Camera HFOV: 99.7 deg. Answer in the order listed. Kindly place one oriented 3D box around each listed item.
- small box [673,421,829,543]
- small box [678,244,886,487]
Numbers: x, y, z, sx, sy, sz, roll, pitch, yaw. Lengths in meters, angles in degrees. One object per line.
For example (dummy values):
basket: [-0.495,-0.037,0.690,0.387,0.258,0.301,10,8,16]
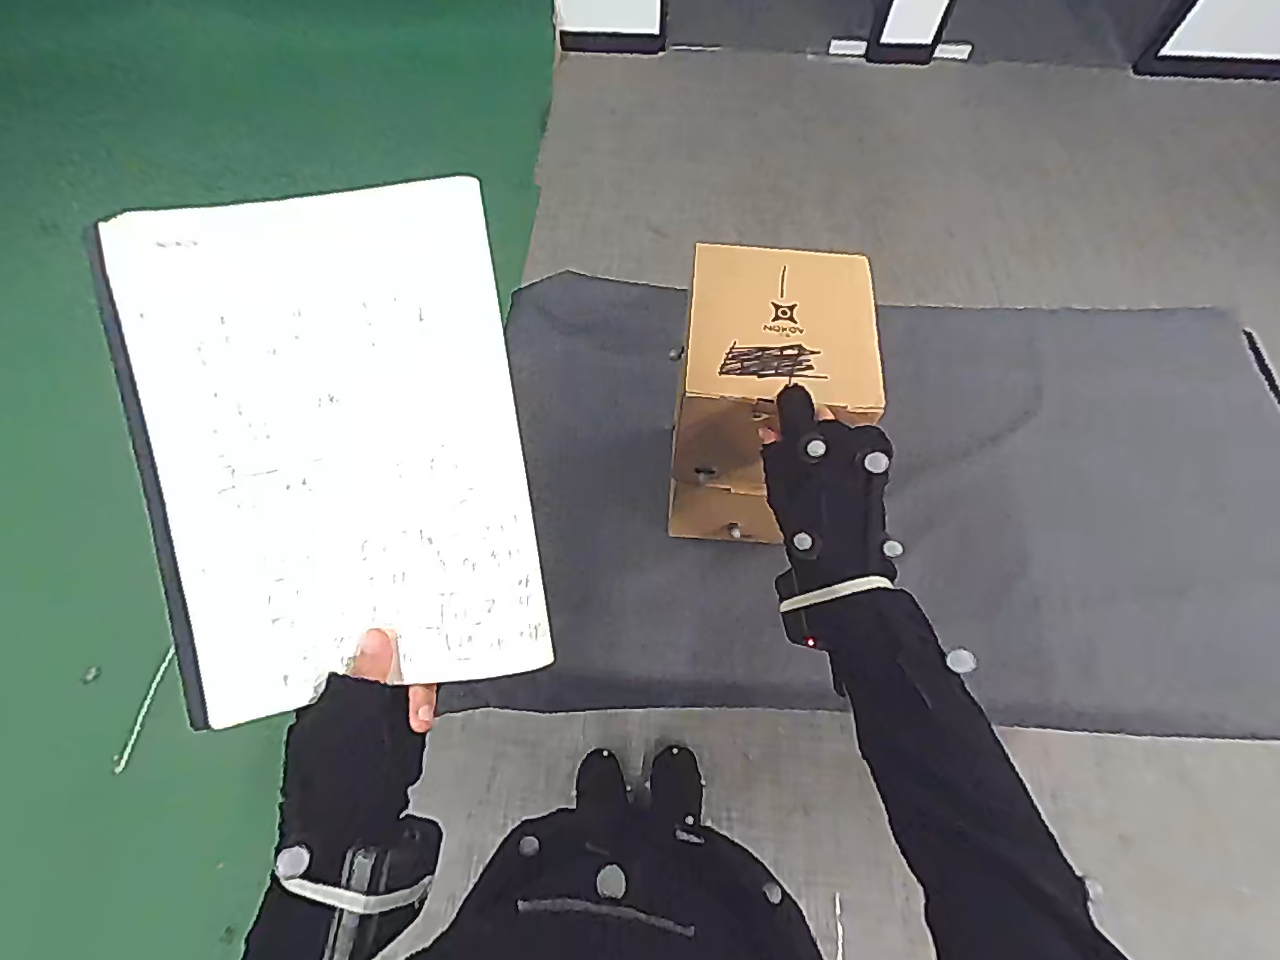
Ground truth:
small box: [0.131,-0.033,0.697,0.168,0.176,0.179,4,64,2]
small box: [0.130,-0.107,0.551,0.168,0.176,0.179,6,64,2]
